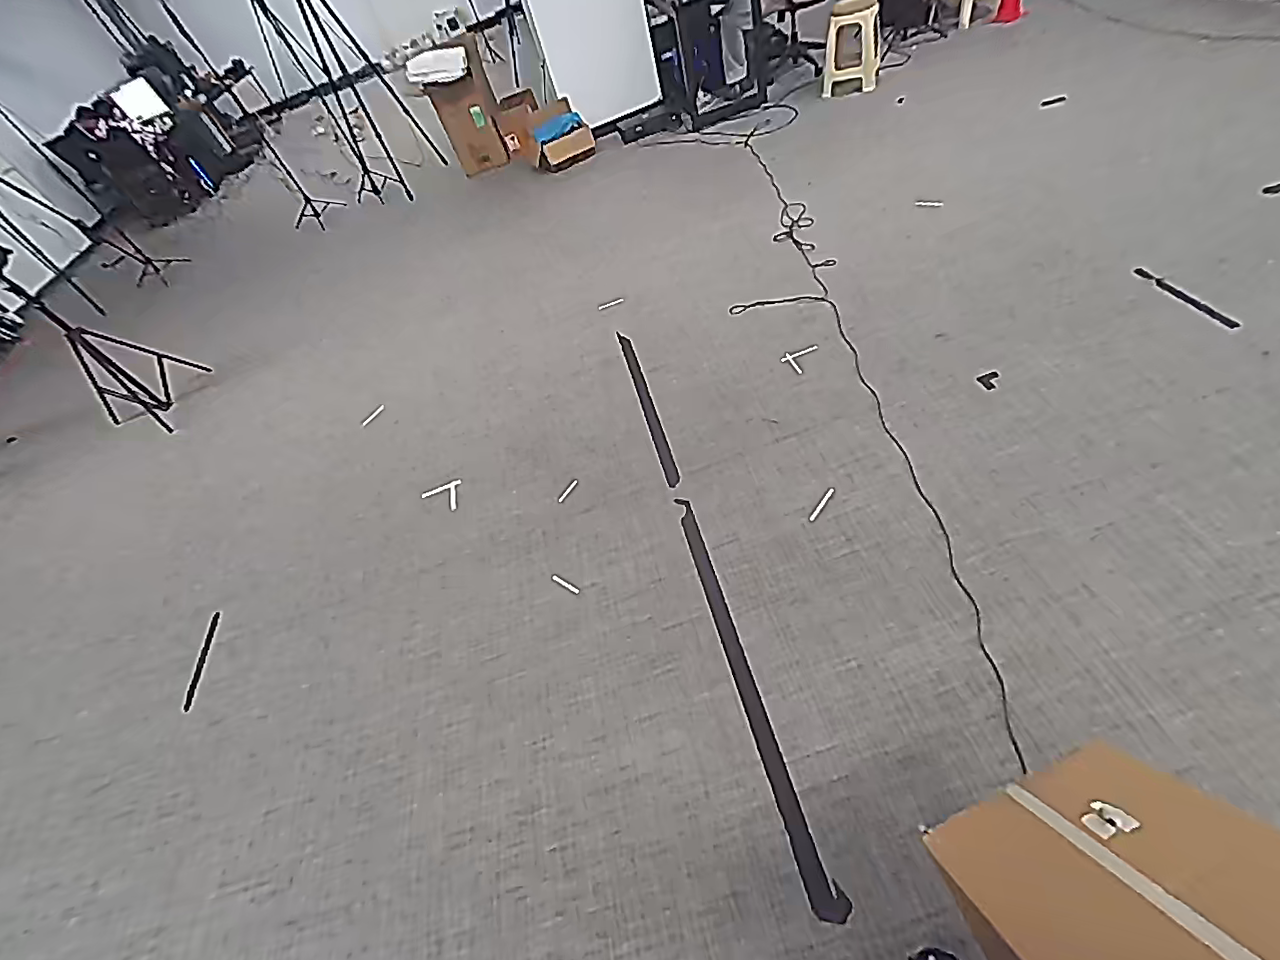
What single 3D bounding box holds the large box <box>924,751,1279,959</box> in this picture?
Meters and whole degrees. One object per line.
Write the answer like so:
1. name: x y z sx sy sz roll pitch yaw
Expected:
1. large box: 0.631 0.596 0.613 0.320 0.408 0.320 -26 85 -2
